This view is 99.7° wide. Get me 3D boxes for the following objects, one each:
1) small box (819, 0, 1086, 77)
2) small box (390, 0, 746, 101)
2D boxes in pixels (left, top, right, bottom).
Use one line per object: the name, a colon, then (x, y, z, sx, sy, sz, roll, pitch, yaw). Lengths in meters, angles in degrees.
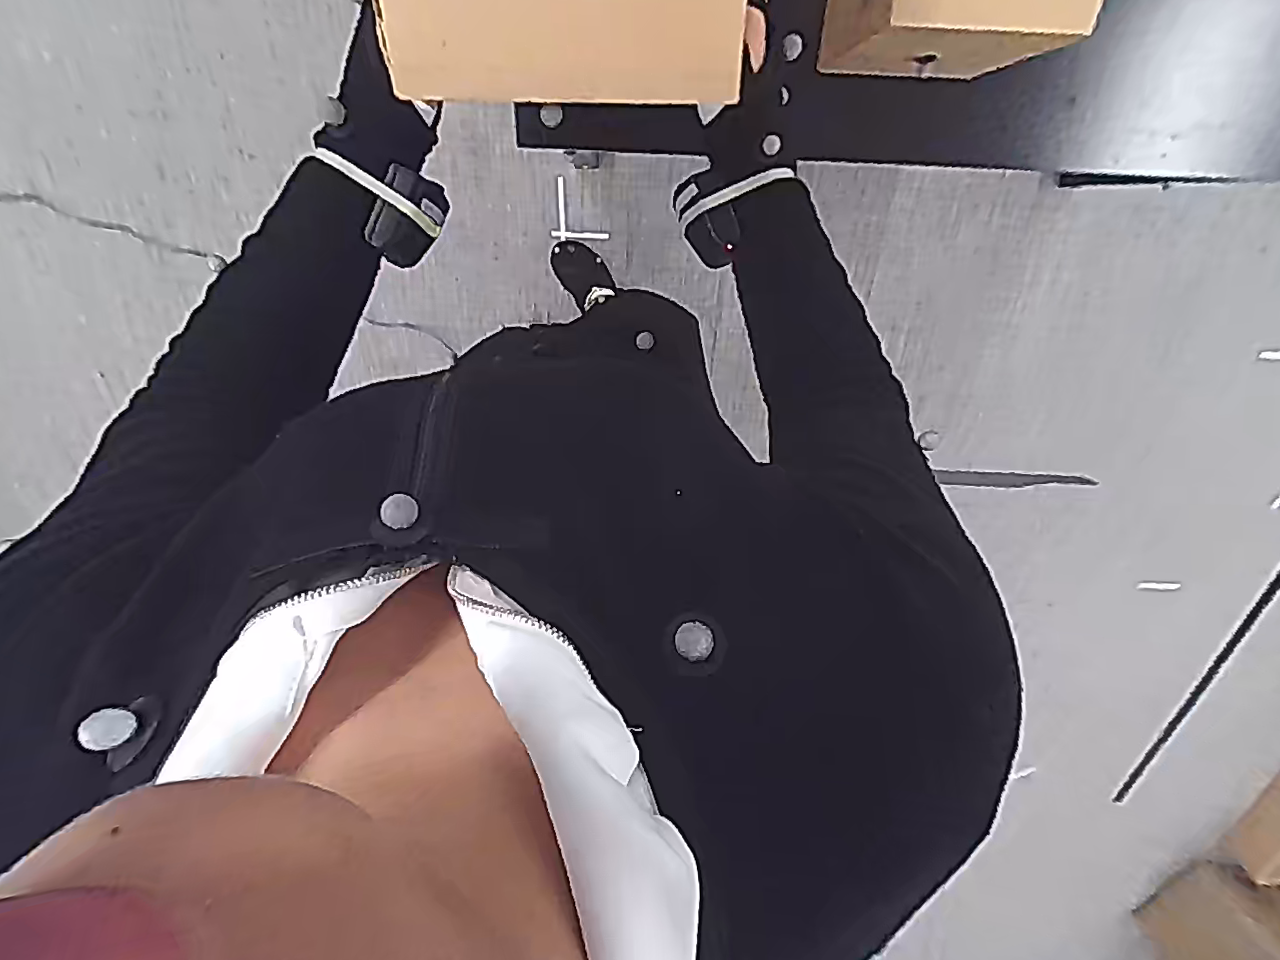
small box: (0.268, -0.469, 0.465, 0.168, 0.176, 0.179, 0, 117, -3)
small box: (-0.036, -0.317, 0.301, 0.179, 0.176, 0.168, -1, 128, -4)
